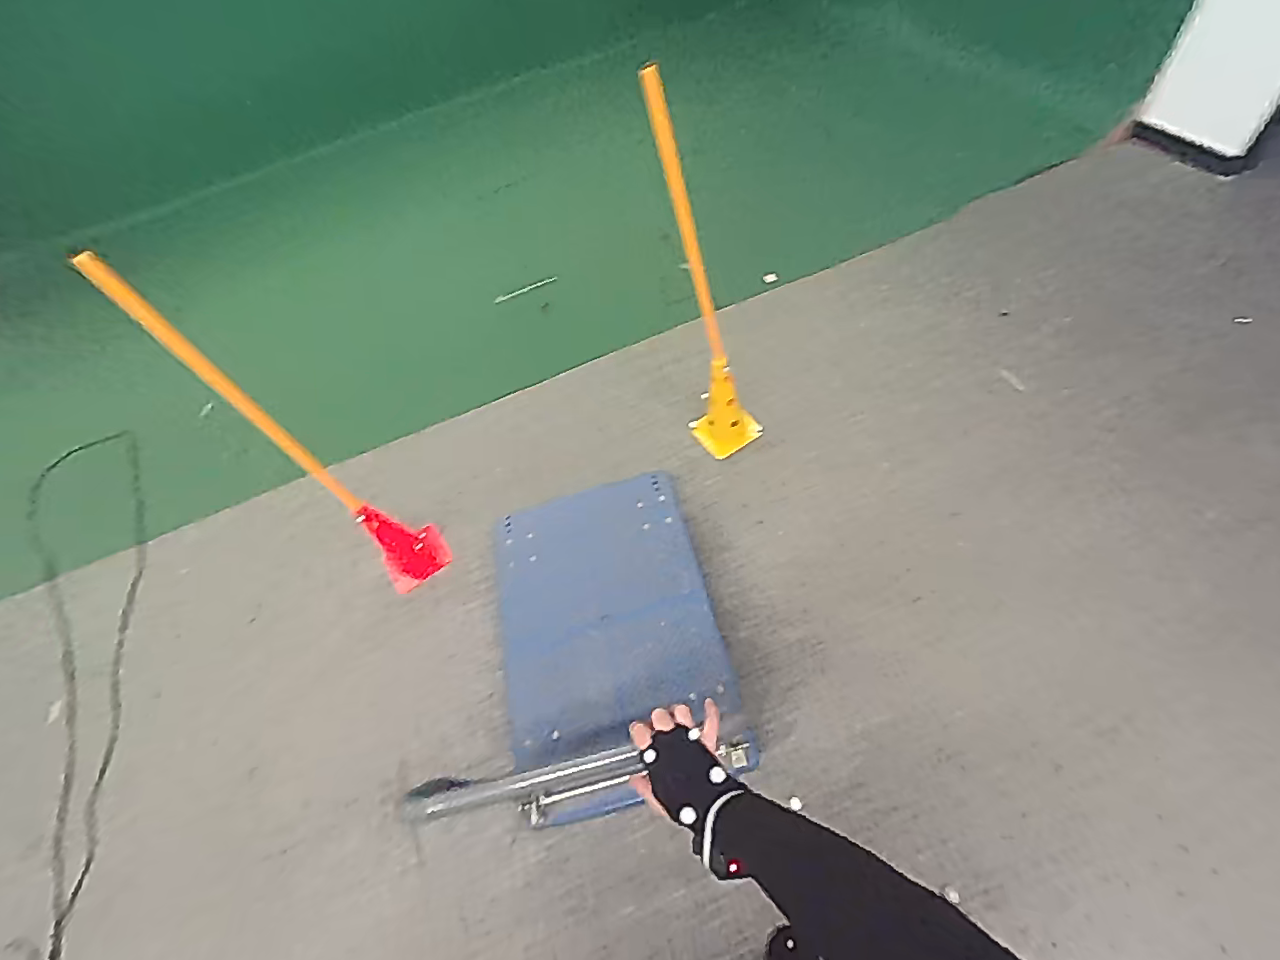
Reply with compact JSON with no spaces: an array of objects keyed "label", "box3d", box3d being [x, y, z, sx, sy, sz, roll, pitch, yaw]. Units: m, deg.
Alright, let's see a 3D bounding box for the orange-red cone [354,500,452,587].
[{"label":"orange-red cone","box3d":[-0.806,0.169,1.759,0.199,0.360,0.198,-36,57,-10]}]
